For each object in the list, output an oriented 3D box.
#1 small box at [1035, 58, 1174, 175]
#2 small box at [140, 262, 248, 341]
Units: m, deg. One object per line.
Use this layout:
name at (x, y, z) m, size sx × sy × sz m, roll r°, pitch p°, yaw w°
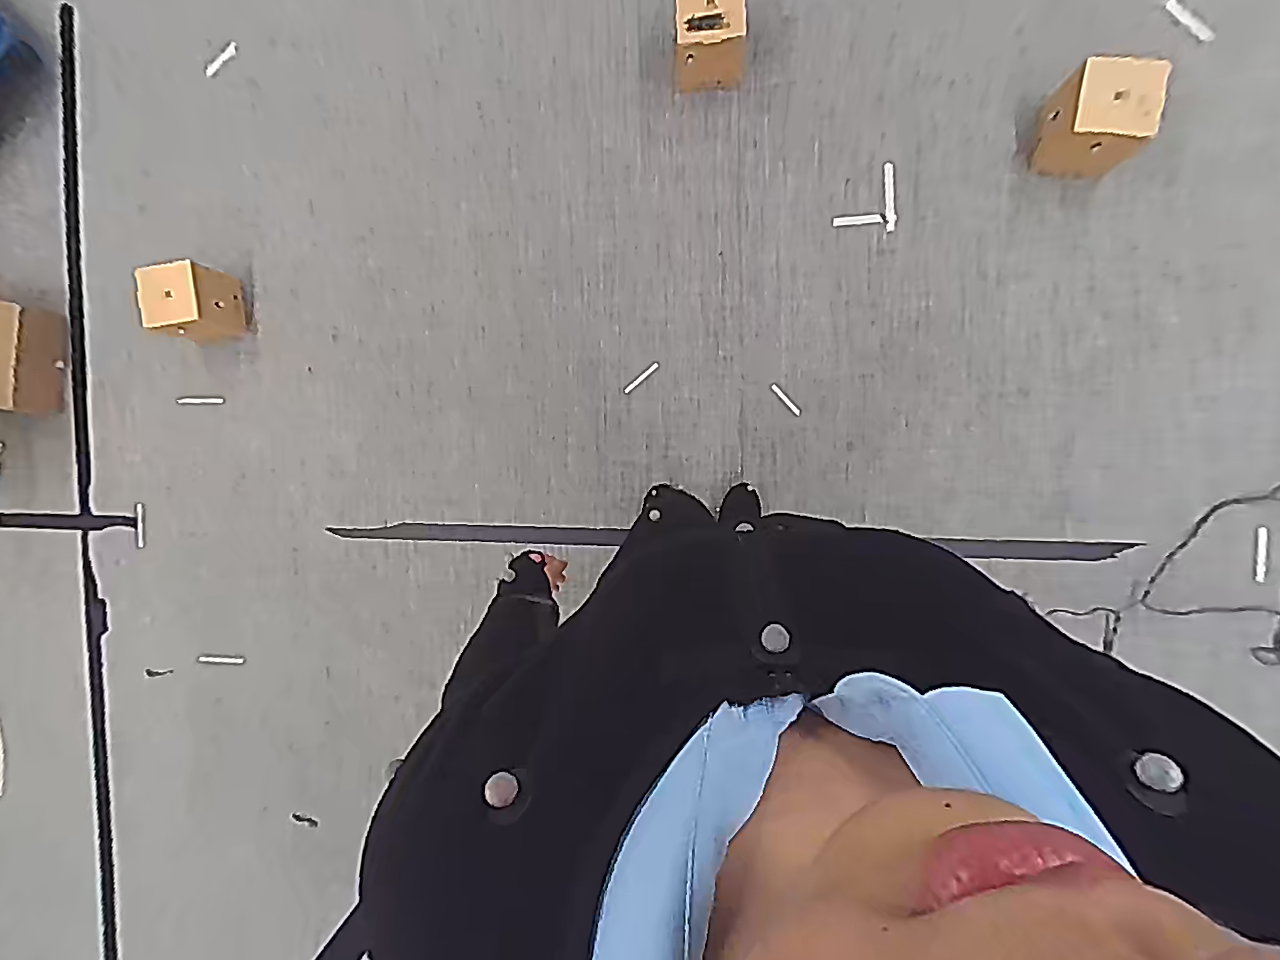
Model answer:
small box at (1.080, -0.846, 1.274) m, size 0.179 × 0.176 × 0.168 m, roll 9°, pitch 94°, yaw 6°
small box at (-1.275, -0.510, 1.561) m, size 0.179 × 0.176 × 0.168 m, roll -7°, pitch 91°, yaw 7°
